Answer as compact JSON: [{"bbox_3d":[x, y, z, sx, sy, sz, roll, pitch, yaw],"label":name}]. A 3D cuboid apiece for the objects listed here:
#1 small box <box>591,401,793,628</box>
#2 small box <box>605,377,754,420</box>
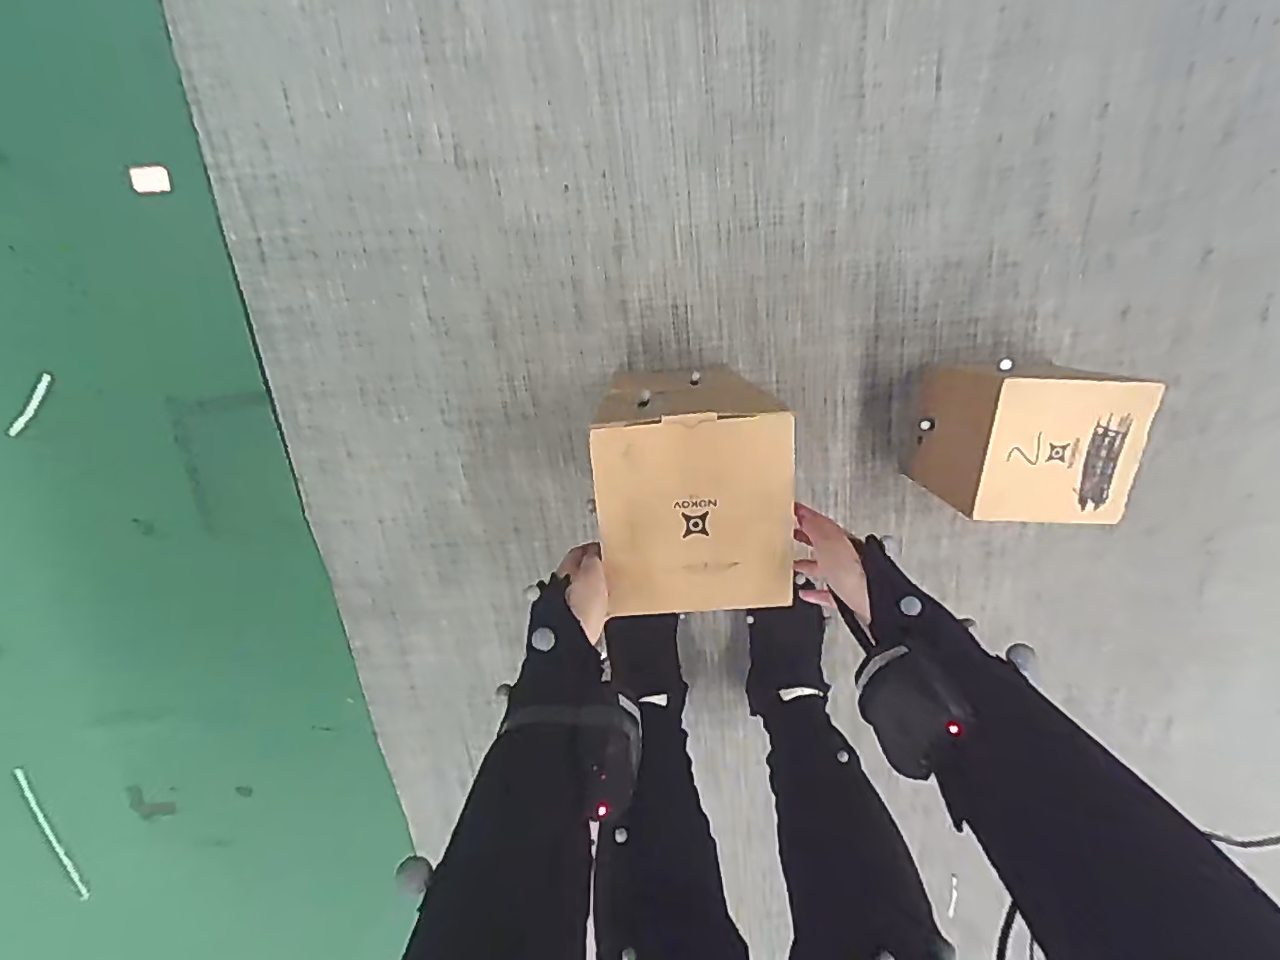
[{"bbox_3d":[0.048,0.021,0.532,0.168,0.176,0.179,-4,109,3],"label":"small box"},{"bbox_3d":[0.047,-0.030,0.687,0.168,0.176,0.179,-1,109,1],"label":"small box"}]
